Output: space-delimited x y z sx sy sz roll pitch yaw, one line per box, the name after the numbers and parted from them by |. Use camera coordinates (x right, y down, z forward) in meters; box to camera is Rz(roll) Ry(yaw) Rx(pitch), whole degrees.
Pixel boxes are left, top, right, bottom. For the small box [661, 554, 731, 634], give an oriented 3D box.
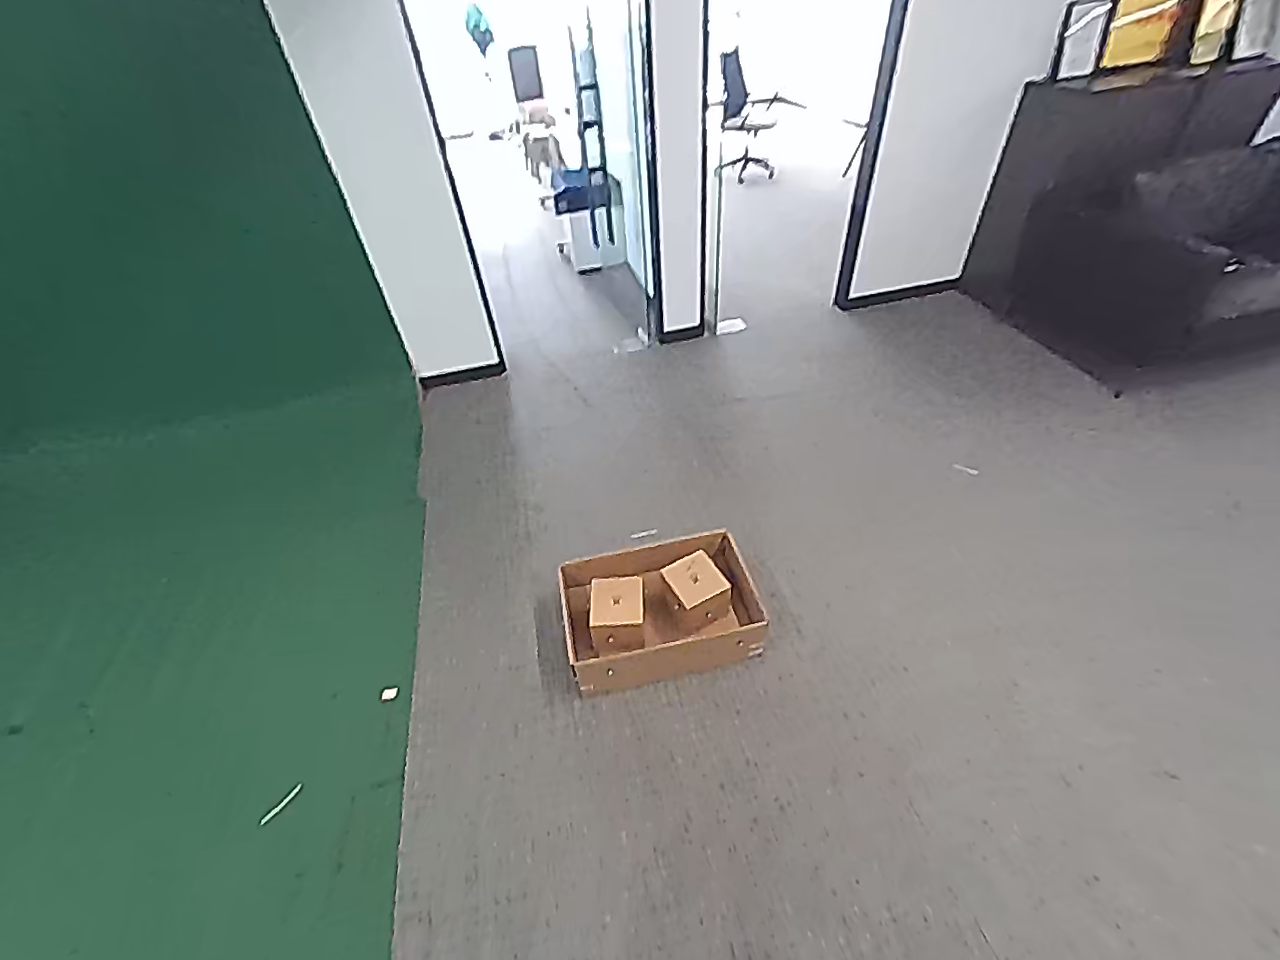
0.184 0.383 1.783 0.168 0.176 0.179 -22 45 -17 | small box

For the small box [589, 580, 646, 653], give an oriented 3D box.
-0.067 0.445 1.741 0.168 0.176 0.179 -3 42 1 | small box
